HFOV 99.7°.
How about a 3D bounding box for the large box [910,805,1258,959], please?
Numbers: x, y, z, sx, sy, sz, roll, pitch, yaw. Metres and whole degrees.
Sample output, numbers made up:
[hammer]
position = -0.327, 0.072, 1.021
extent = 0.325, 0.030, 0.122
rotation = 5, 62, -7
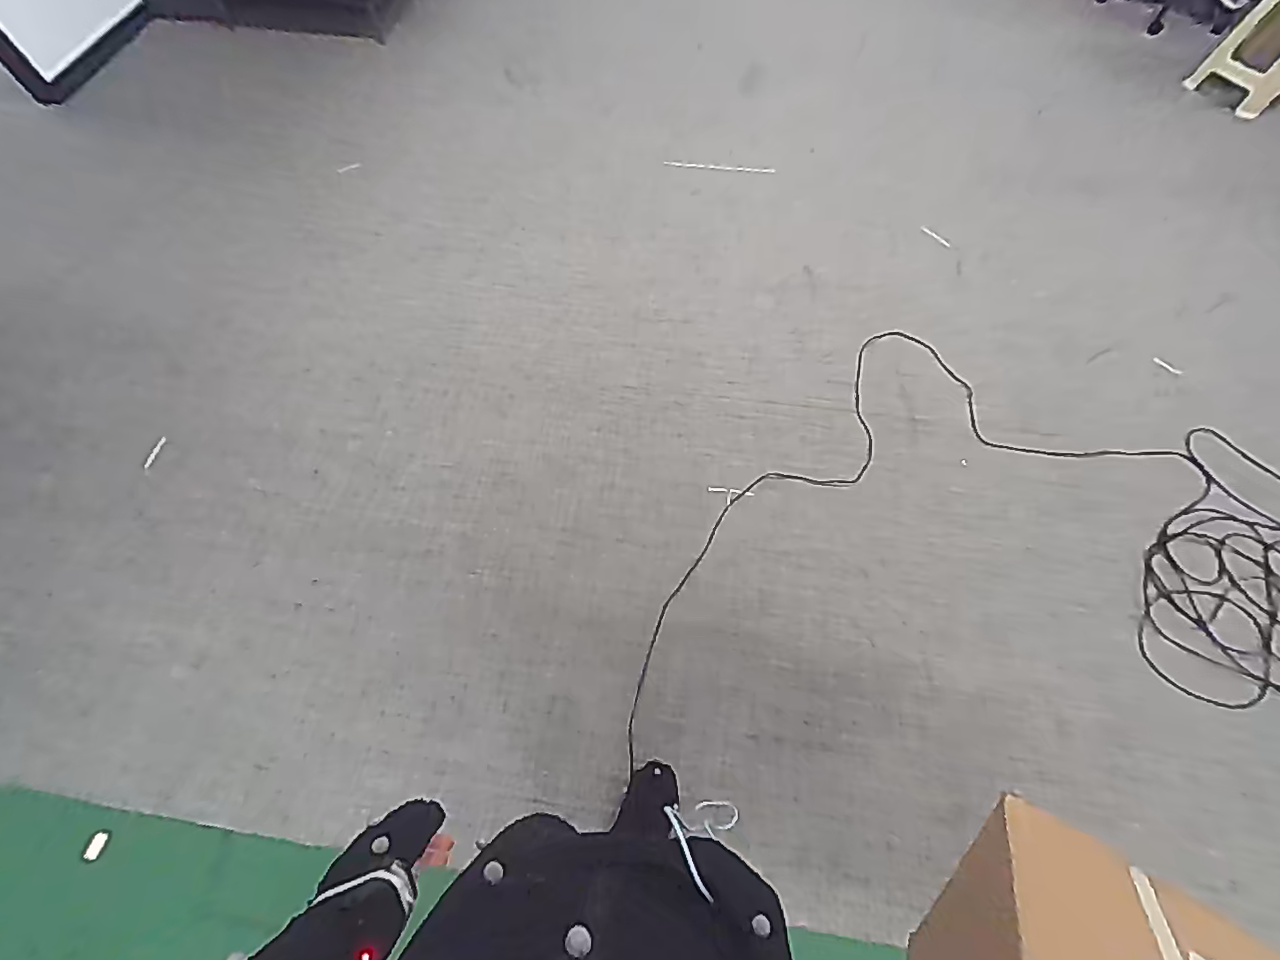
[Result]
[large box]
position = 0.497, 0.678, 0.582
extent = 0.320, 0.408, 0.320
rotation = 28, 106, 26
